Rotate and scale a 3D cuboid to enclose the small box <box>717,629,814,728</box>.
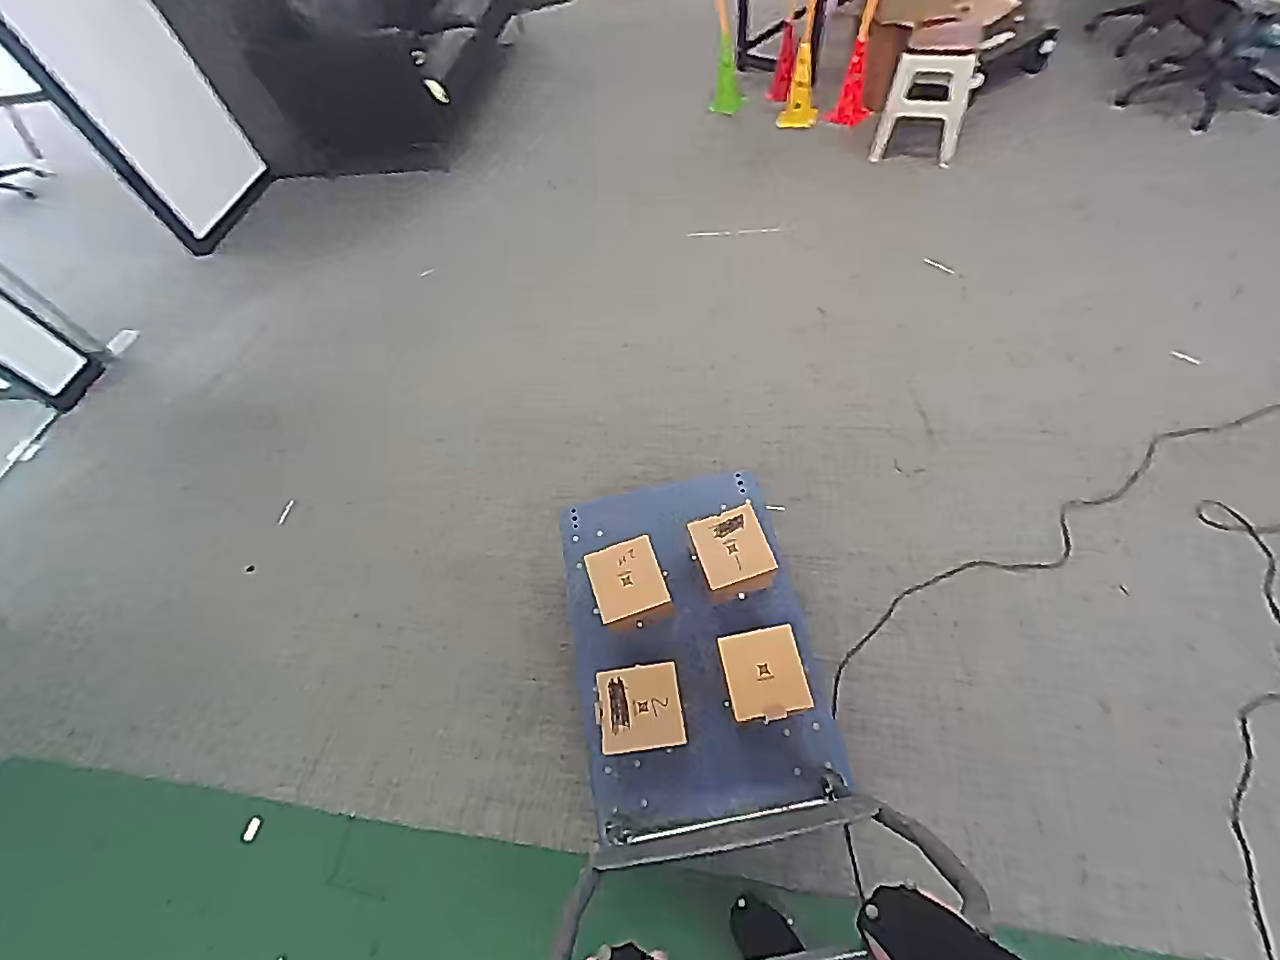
[{"bbox_3d":[0.272,0.452,1.221,0.168,0.176,0.179,-11,64,1],"label":"small box"}]

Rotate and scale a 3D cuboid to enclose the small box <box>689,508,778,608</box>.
[{"bbox_3d":[0.226,0.200,1.349,0.168,0.176,0.179,-18,64,-2],"label":"small box"}]

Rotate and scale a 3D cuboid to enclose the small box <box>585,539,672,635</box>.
[{"bbox_3d":[-0.024,0.274,1.340,0.168,0.176,0.179,-18,63,-4],"label":"small box"}]
